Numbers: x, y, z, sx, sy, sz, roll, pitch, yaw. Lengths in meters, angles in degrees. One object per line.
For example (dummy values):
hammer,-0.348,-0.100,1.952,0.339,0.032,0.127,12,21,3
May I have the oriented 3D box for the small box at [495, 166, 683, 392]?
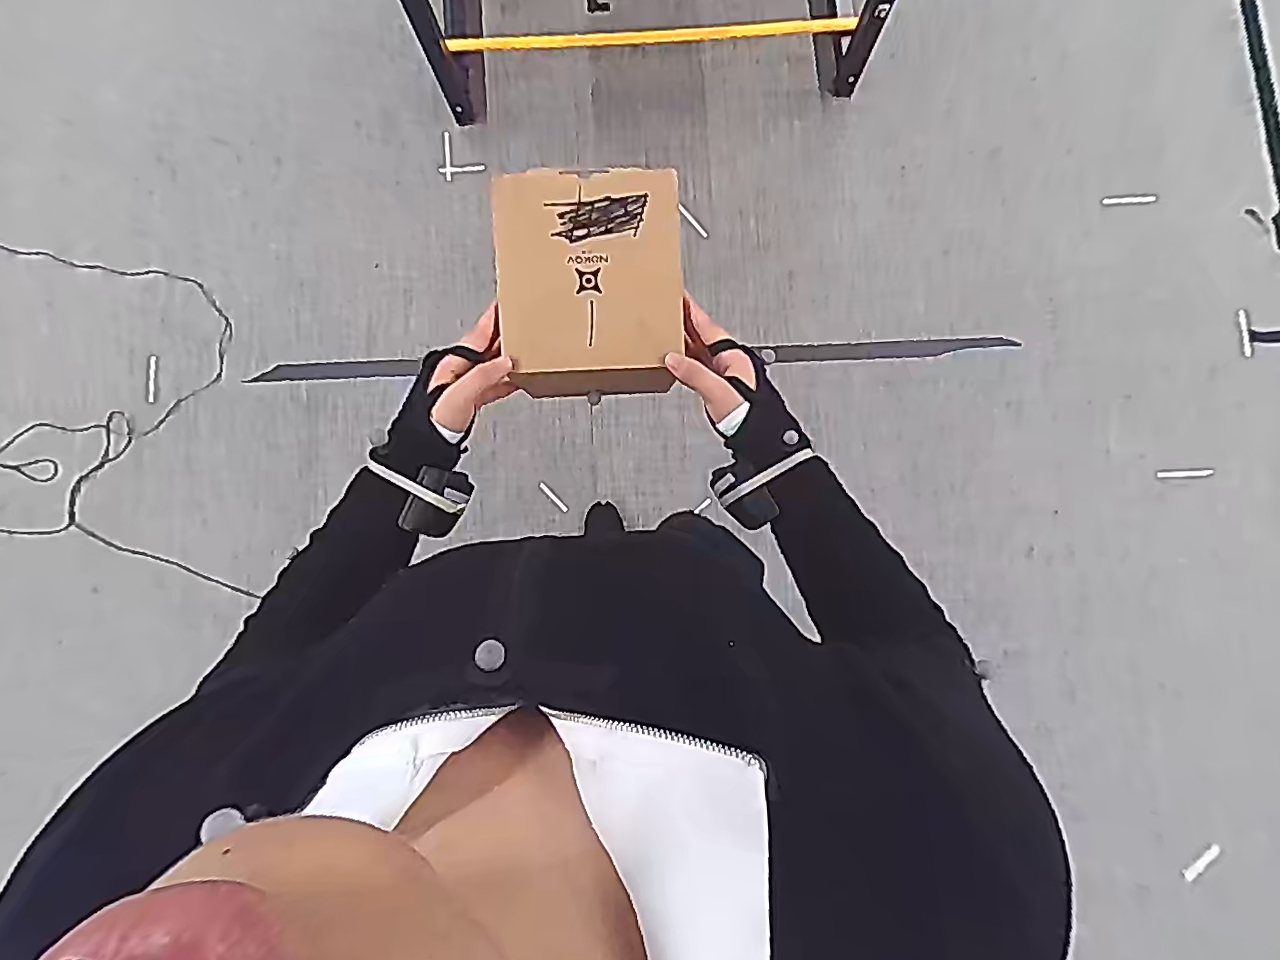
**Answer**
small box,-0.049,-0.192,0.560,0.168,0.176,0.179,-2,92,-2
